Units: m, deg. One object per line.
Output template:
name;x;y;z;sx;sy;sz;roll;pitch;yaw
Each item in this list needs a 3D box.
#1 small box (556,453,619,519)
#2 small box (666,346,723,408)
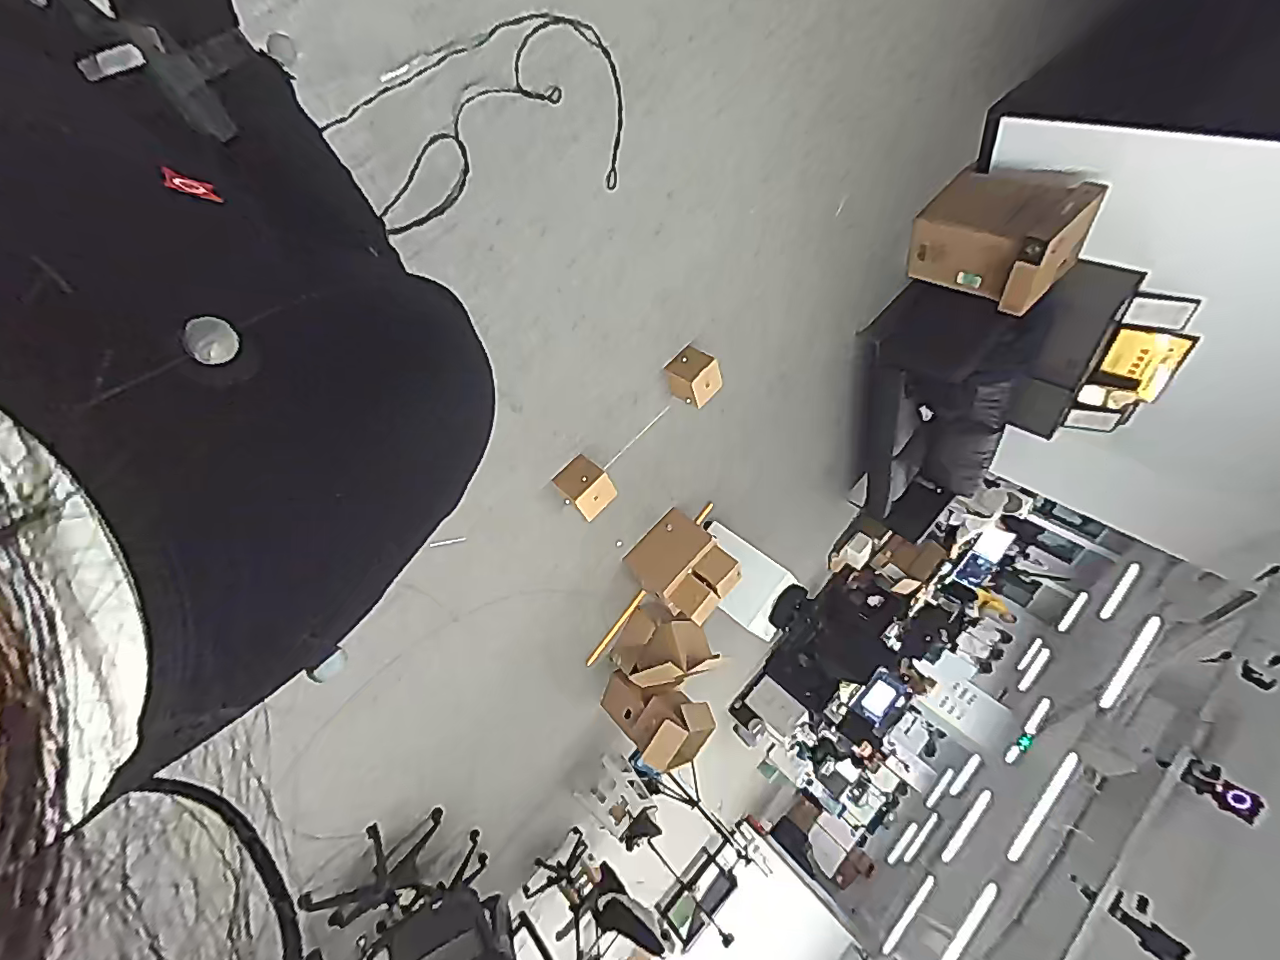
small box;-0.225;0.024;2.242;0.179;0.176;0.168;-46;144;-13
small box;0.242;-0.458;2.385;0.168;0.176;0.179;-45;145;-13
